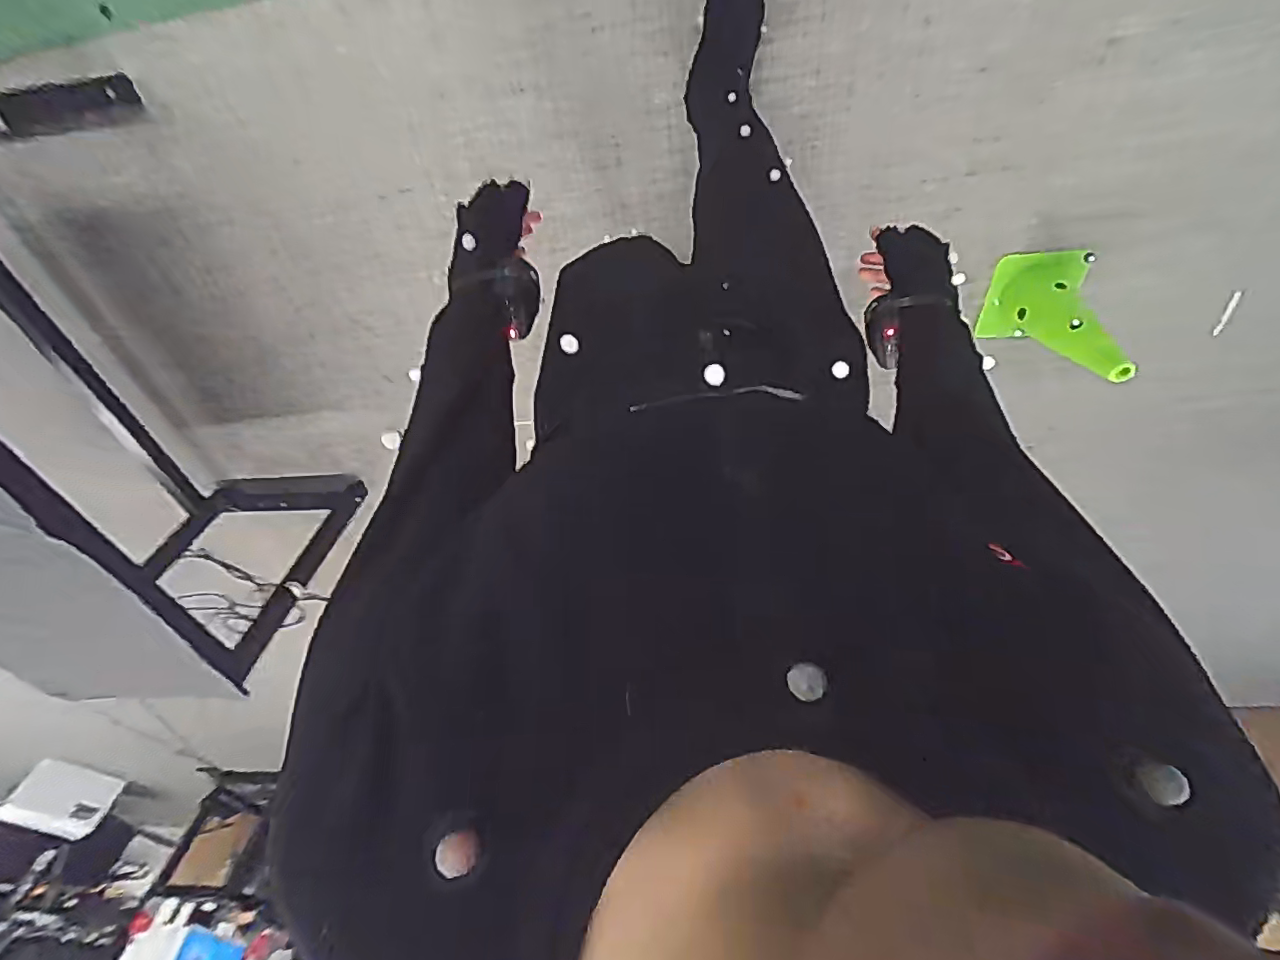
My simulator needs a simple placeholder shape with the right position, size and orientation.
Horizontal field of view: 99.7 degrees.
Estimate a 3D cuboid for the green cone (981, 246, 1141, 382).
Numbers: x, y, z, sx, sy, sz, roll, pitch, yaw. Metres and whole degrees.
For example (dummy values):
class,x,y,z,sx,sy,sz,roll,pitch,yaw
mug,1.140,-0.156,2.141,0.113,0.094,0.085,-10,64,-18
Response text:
class,x,y,z,sx,sy,sz,roll,pitch,yaw
green cone,0.904,-0.318,1.120,0.200,0.368,0.202,-2,131,8
